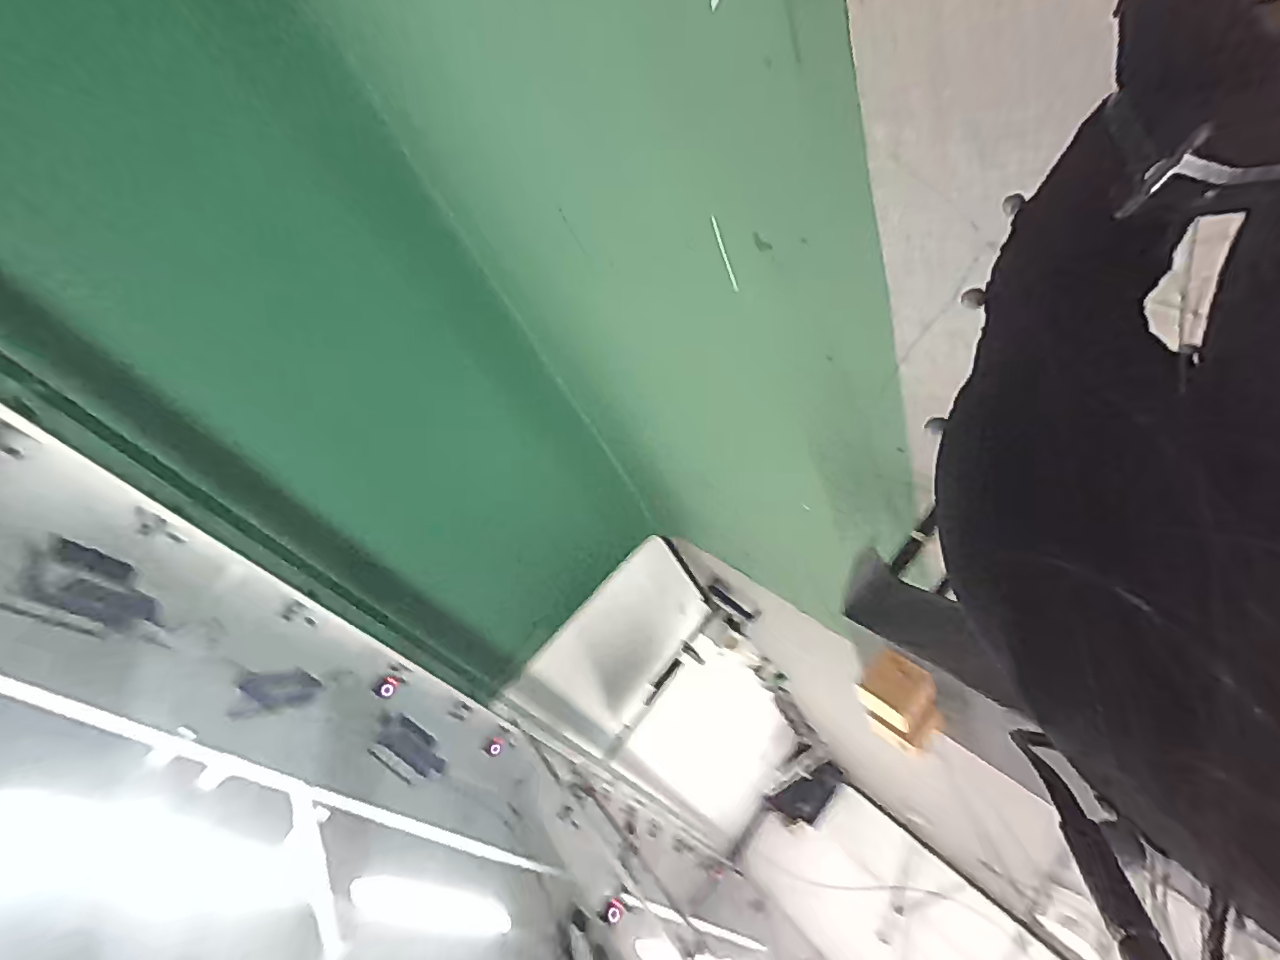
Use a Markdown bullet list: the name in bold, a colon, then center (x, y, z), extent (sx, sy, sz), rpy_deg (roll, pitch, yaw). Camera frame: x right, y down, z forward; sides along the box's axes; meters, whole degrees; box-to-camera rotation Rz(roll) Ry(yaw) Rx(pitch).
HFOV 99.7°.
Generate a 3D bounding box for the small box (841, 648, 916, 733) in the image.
- **small box**: center (0.793, 0.691, 1.785), extent (0.168, 0.176, 0.179), rpy_deg (28, 158, 42)
